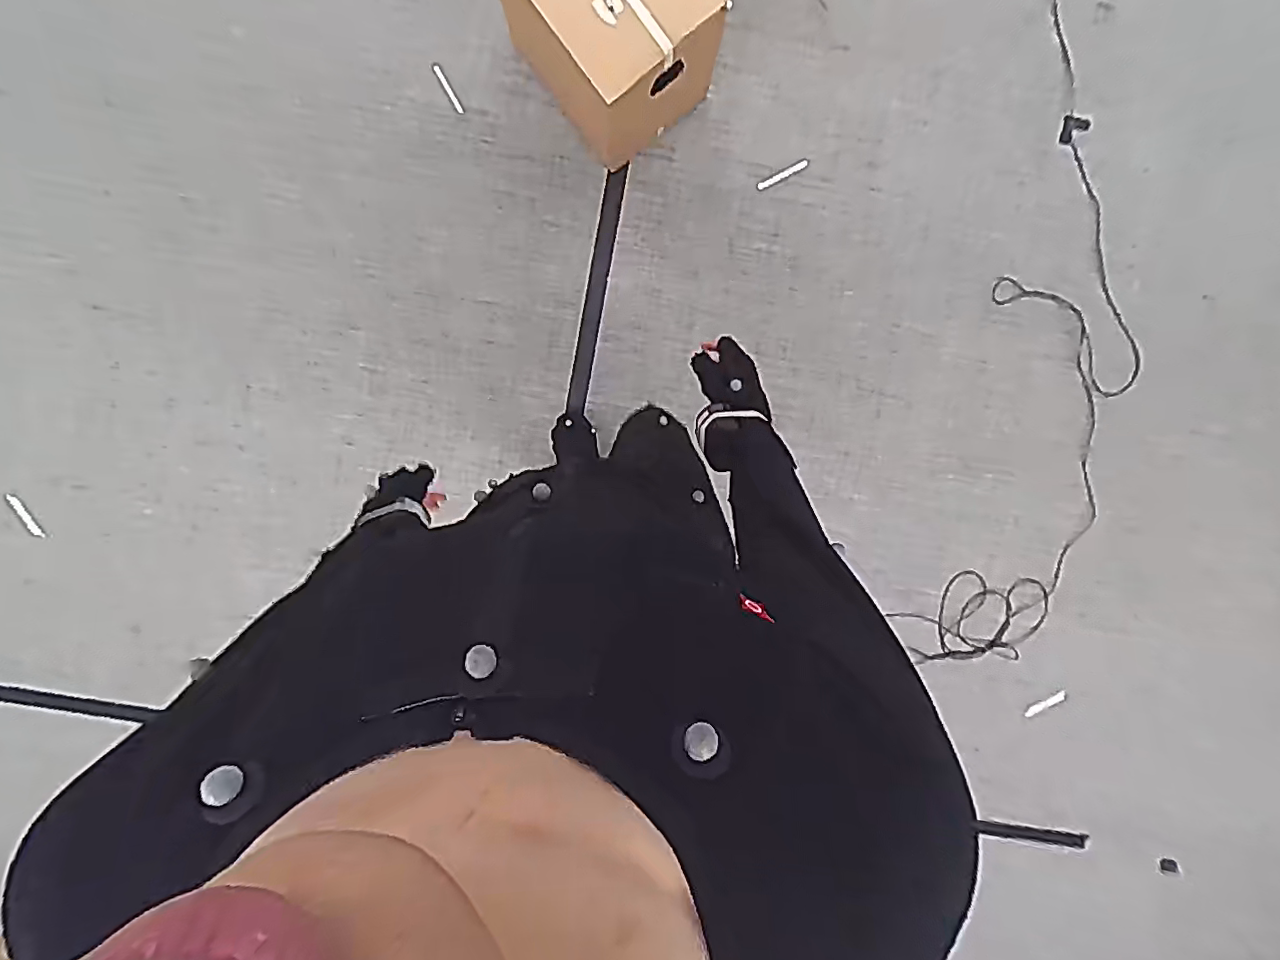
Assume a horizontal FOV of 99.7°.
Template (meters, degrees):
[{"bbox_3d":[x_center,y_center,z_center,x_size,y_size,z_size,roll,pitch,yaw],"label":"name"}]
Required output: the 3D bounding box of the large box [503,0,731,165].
[{"bbox_3d":[-0.068,-1.023,1.198,0.320,0.320,0.408,-39,98,4],"label":"large box"}]
